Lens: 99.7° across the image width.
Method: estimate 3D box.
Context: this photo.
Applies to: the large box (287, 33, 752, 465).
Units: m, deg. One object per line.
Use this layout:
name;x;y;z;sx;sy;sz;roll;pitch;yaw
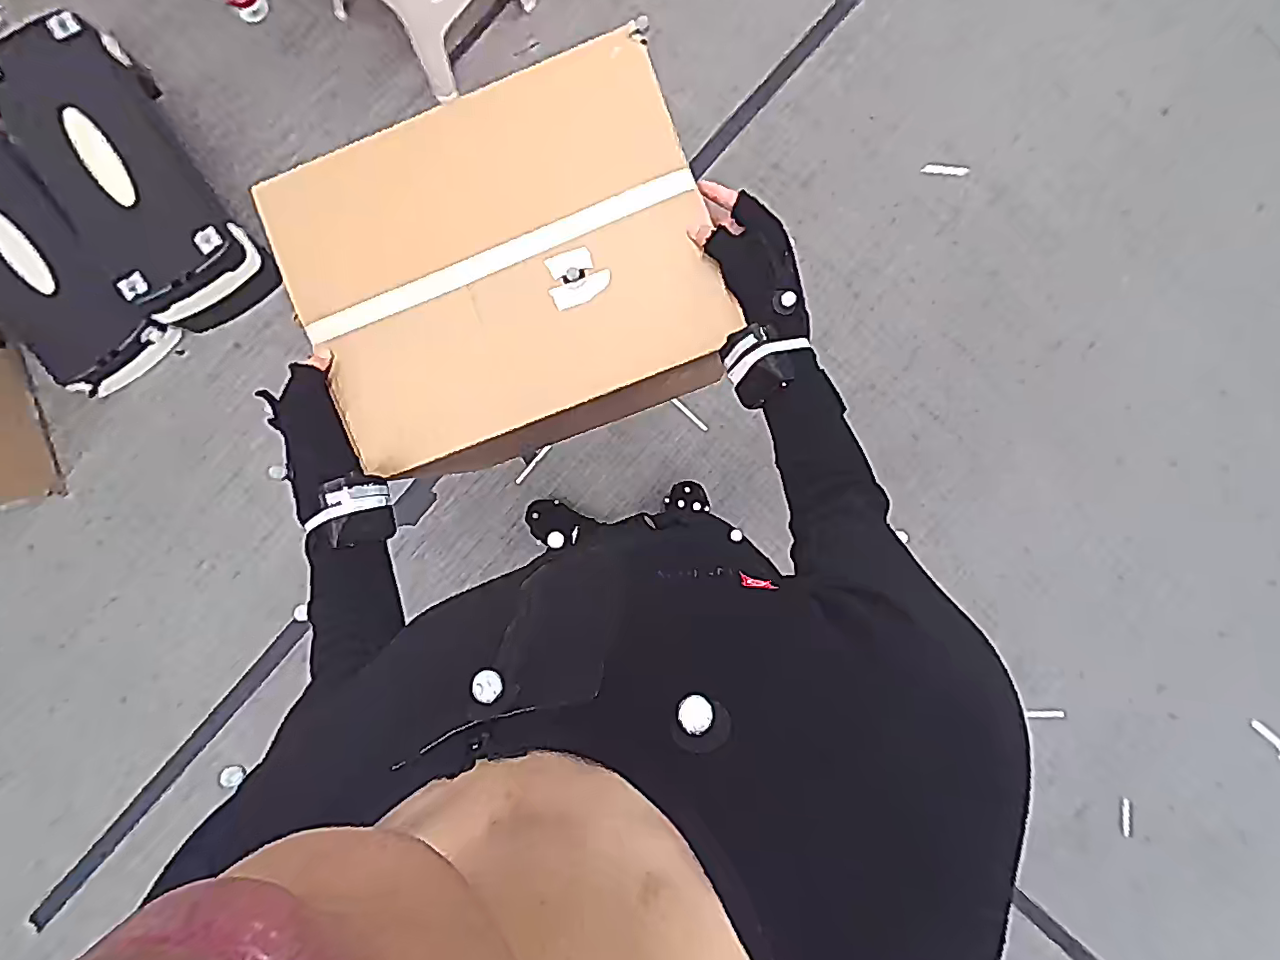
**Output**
large box;-0.118;-0.230;0.687;0.408;0.320;0.320;-20;93;3
